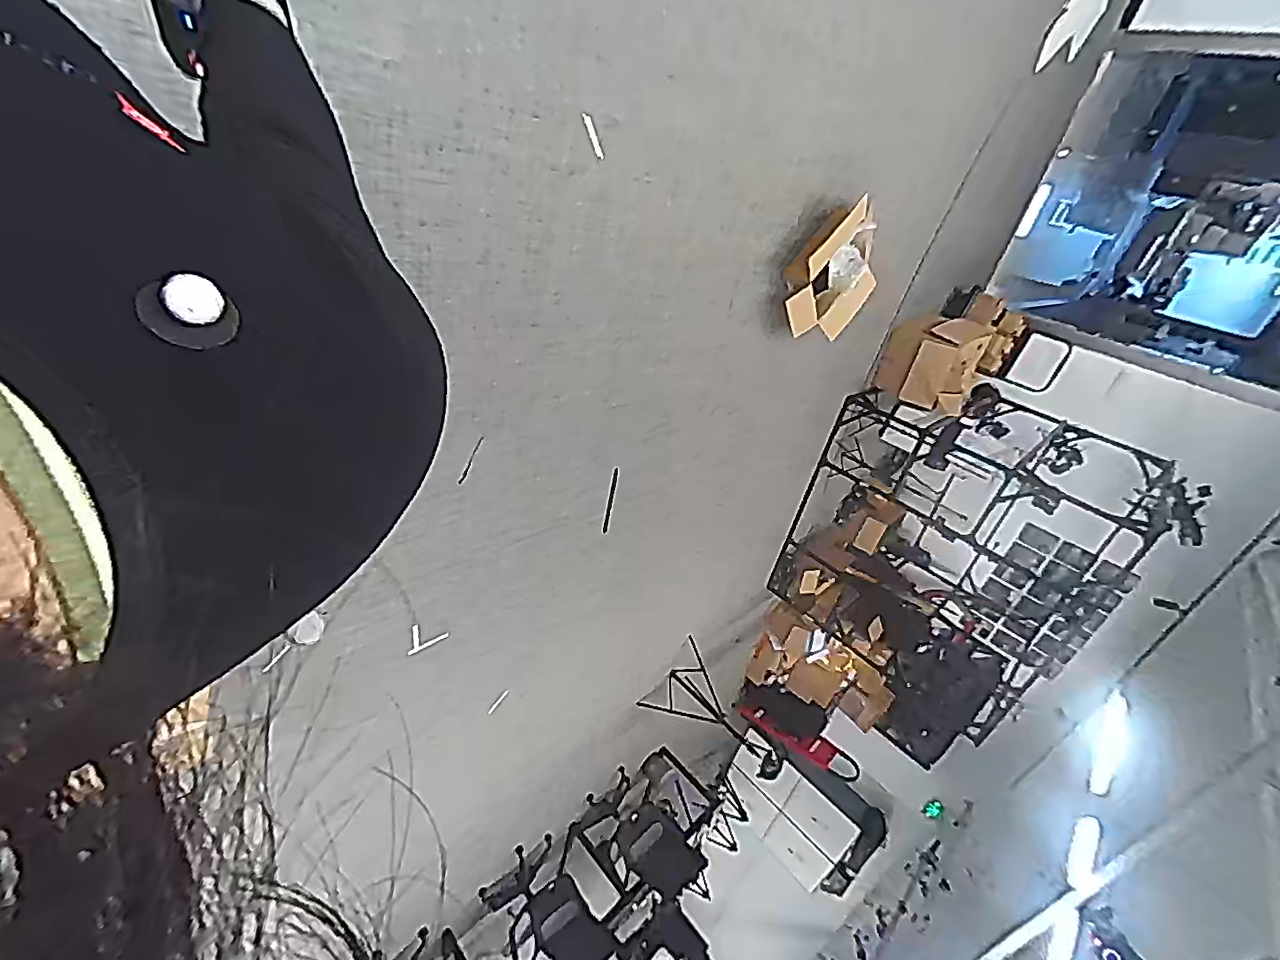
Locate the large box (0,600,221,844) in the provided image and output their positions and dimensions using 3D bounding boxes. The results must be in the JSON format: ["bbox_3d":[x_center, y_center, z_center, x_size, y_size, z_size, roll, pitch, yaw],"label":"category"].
[{"bbox_3d":[-1.316,0.555,1.320,0.408,0.320,0.320,-12,127,-48],"label":"large box"}]
